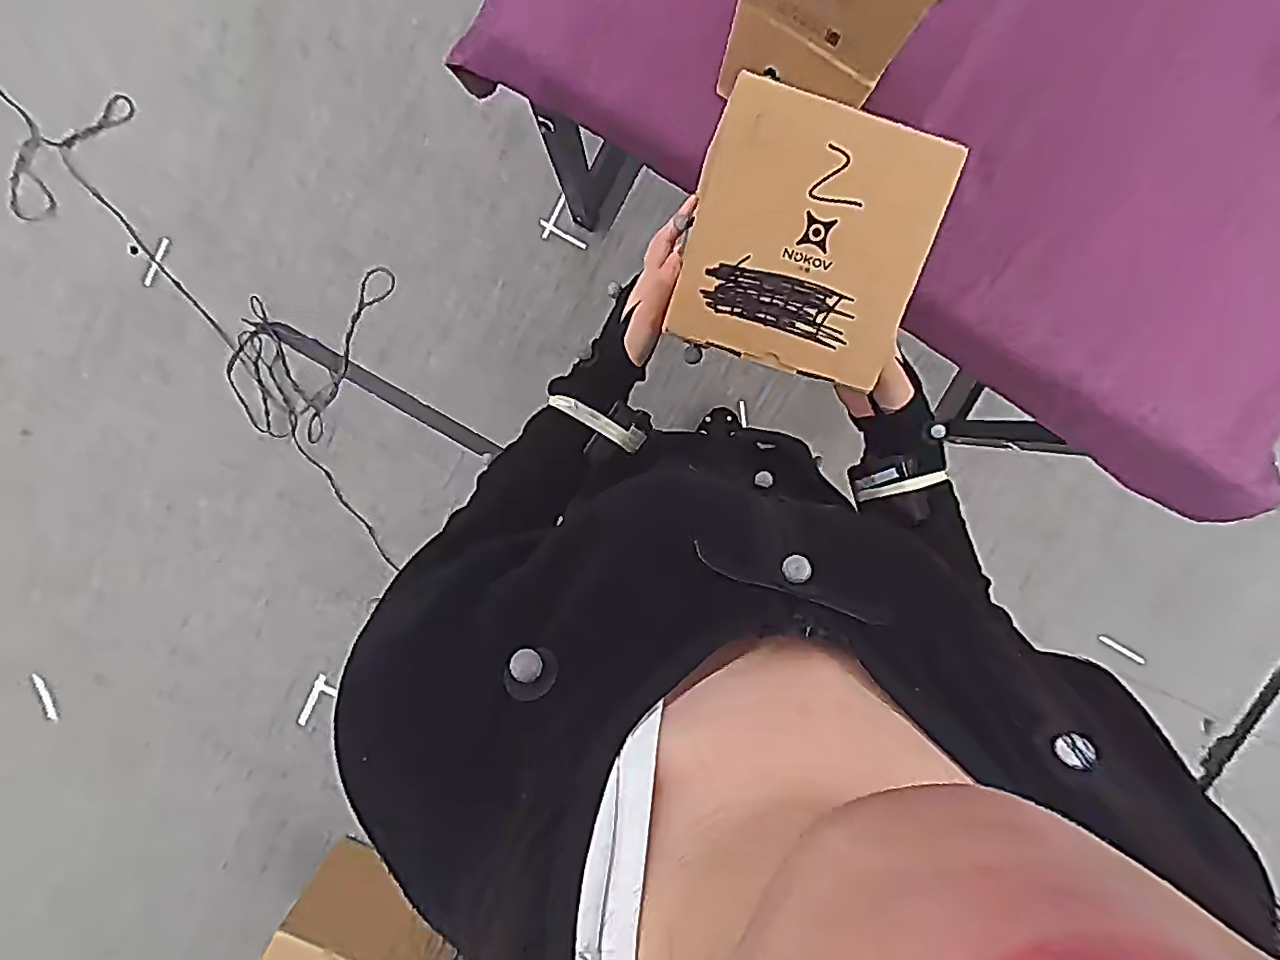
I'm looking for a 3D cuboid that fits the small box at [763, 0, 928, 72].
[{"bbox_3d":[0.212,-0.513,0.464,0.168,0.176,0.179,29,96,-4],"label":"small box"}]

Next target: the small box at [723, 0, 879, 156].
[{"bbox_3d":[0.210,-0.526,0.628,0.168,0.176,0.179,31,95,-4],"label":"small box"}]
